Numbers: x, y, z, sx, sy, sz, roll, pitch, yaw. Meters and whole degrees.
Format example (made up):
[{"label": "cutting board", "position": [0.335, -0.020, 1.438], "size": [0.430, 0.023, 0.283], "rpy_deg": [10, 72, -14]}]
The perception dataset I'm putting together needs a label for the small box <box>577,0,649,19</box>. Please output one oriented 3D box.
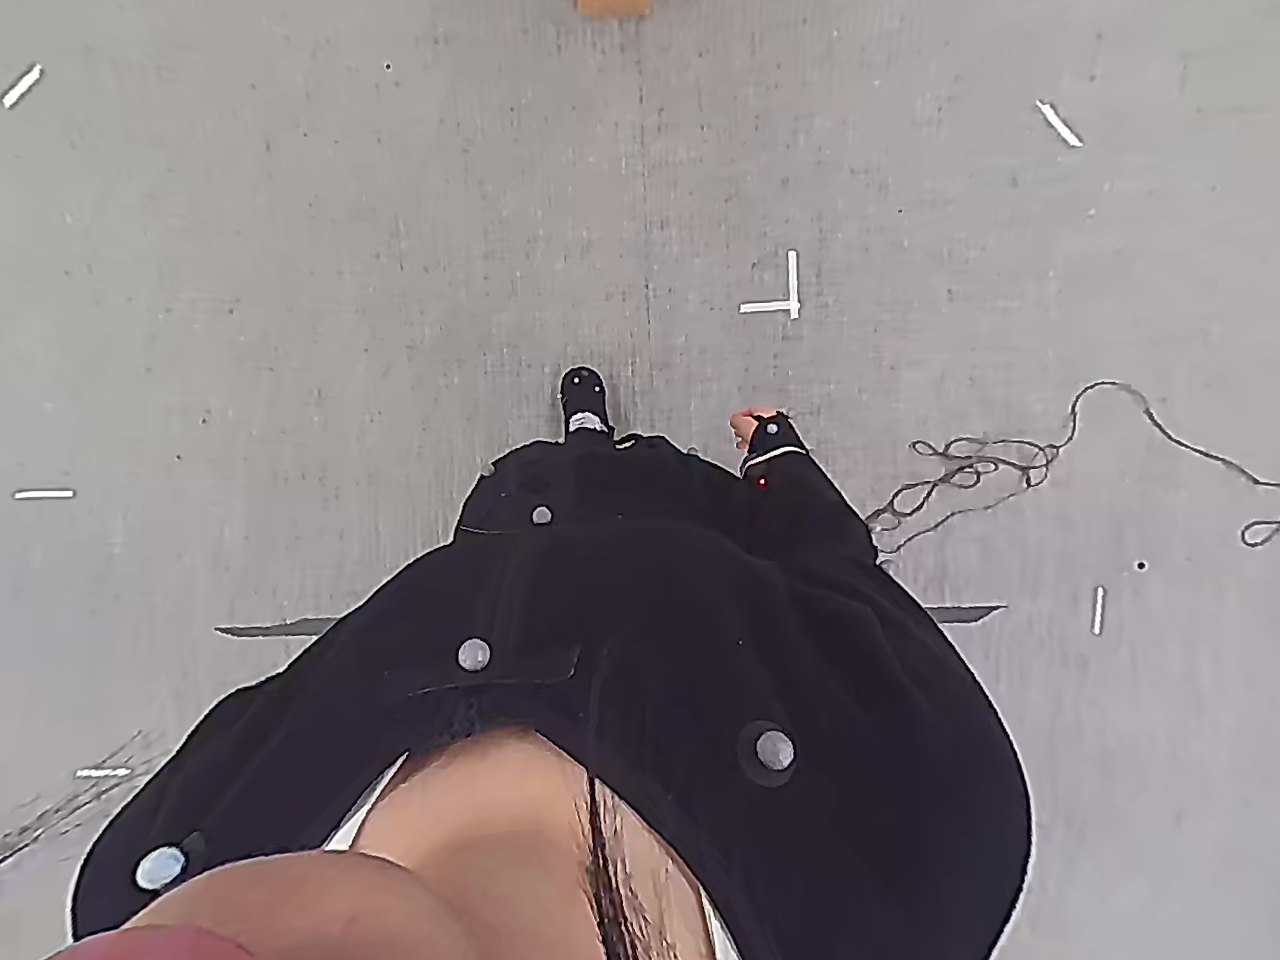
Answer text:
[{"label": "small box", "position": [-0.063, -1.219, 1.257], "size": [0.179, 0.176, 0.168], "rpy_deg": [-2, 97, -1]}]
